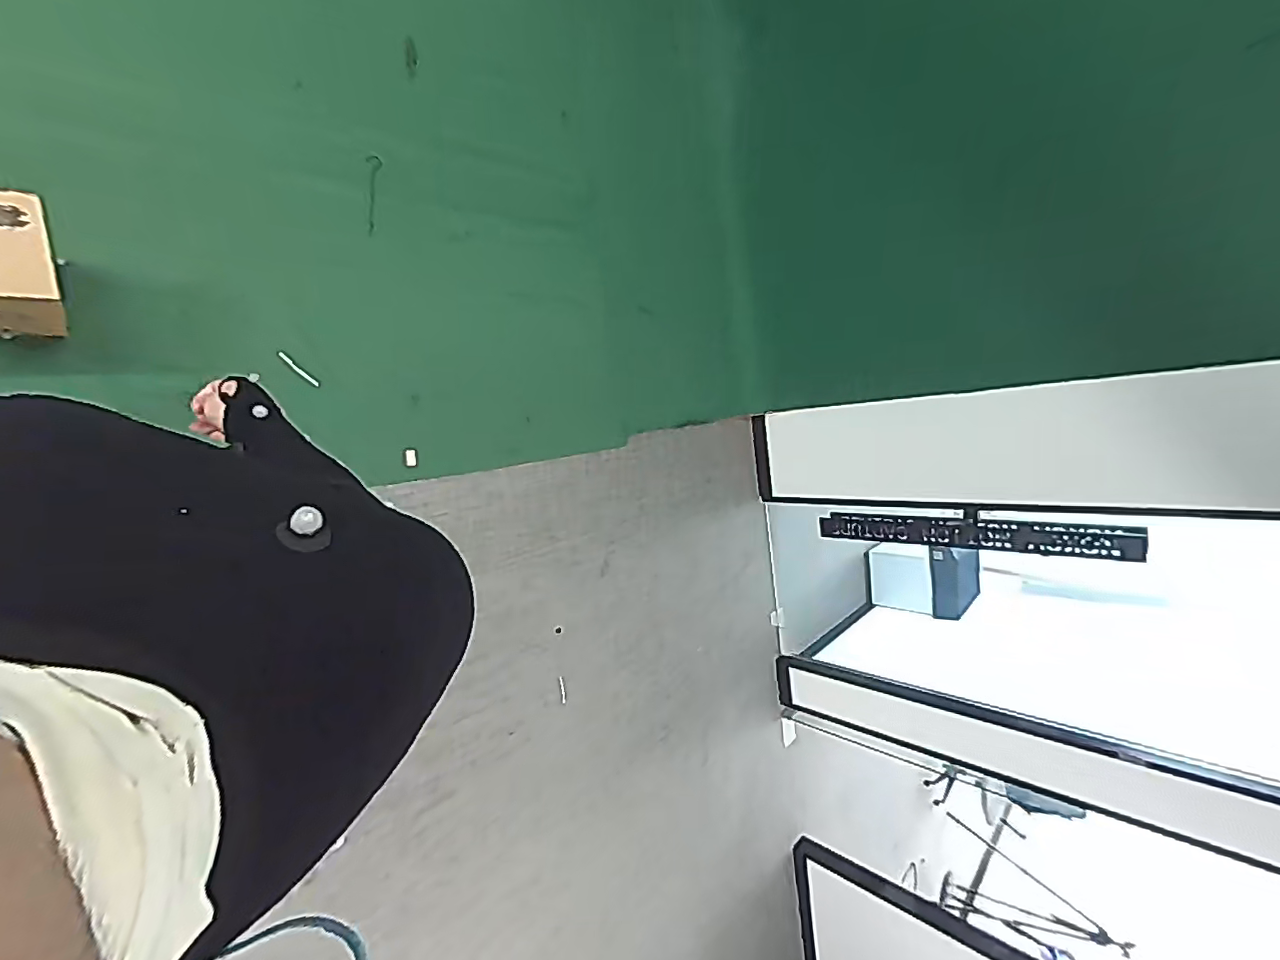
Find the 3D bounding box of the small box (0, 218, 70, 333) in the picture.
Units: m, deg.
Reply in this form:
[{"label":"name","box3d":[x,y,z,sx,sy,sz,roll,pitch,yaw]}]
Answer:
[{"label":"small box","box3d":[-1.228,-0.390,1.035,0.168,0.176,0.179,-10,98,-43]}]
